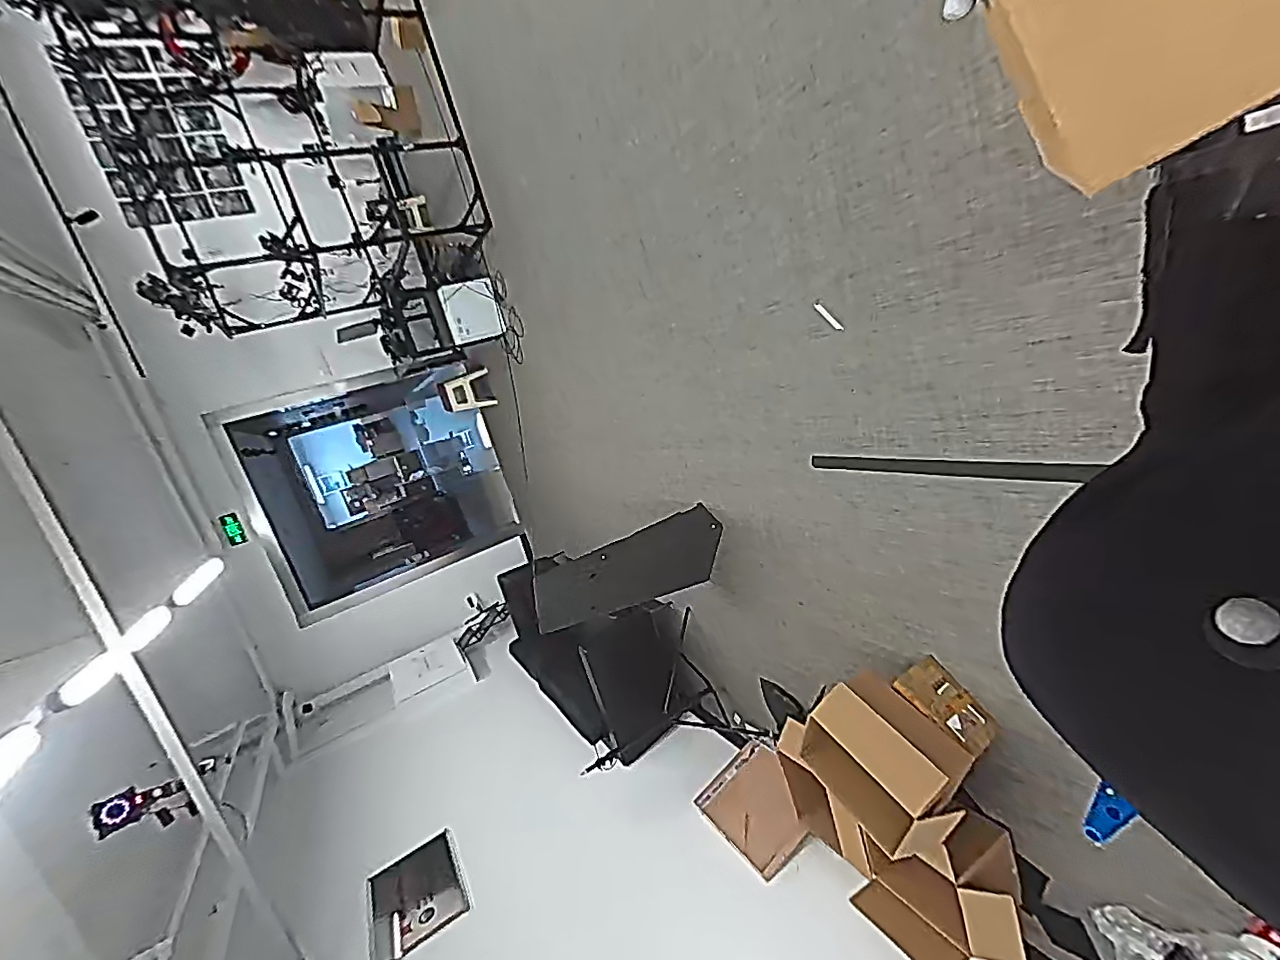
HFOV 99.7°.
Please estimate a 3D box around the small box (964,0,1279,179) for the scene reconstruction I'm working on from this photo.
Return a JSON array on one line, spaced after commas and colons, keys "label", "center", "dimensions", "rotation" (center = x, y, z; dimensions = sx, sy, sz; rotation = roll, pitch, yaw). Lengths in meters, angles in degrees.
[{"label": "small box", "center": [0.221, -0.251, 0.208], "dimensions": [0.168, 0.176, 0.179], "rotation": [-25, 104, 41]}]
